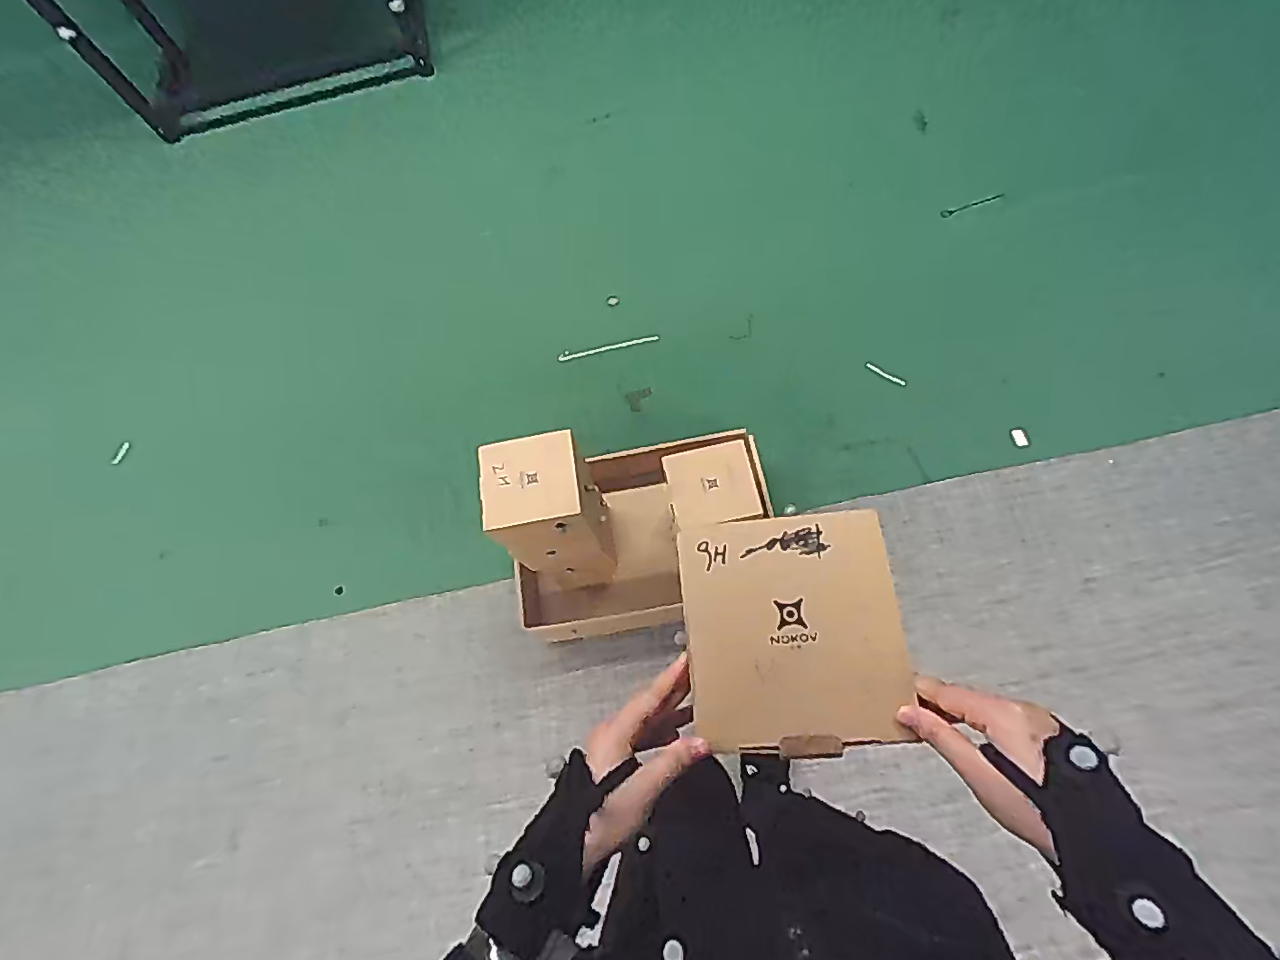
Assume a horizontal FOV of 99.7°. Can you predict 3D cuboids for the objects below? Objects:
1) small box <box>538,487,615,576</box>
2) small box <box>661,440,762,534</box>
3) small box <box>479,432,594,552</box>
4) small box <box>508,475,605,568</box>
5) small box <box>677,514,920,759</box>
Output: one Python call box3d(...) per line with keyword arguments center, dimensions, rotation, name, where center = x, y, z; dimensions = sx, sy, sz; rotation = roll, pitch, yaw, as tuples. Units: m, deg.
box3d(center=(-0.162, 0.134, 1.334), dimensions=(0.168, 0.176, 0.179), rotation=(-11, 69, 2), name="small box")
box3d(center=(0.152, 0.036, 1.158), dimensions=(0.179, 0.176, 0.168), rotation=(-13, 71, 3), name="small box")
box3d(center=(-0.188, 0.029, 1.023), dimensions=(0.179, 0.176, 0.168), rotation=(-11, 68, 2), name="small box")
box3d(center=(-0.182, 0.087, 1.178), dimensions=(0.179, 0.176, 0.168), rotation=(-10, 69, 1), name="small box")
box3d(center=(0.127, 0.139, 0.496), dimensions=(0.168, 0.176, 0.179), rotation=(-6, 73, 5), name="small box")
